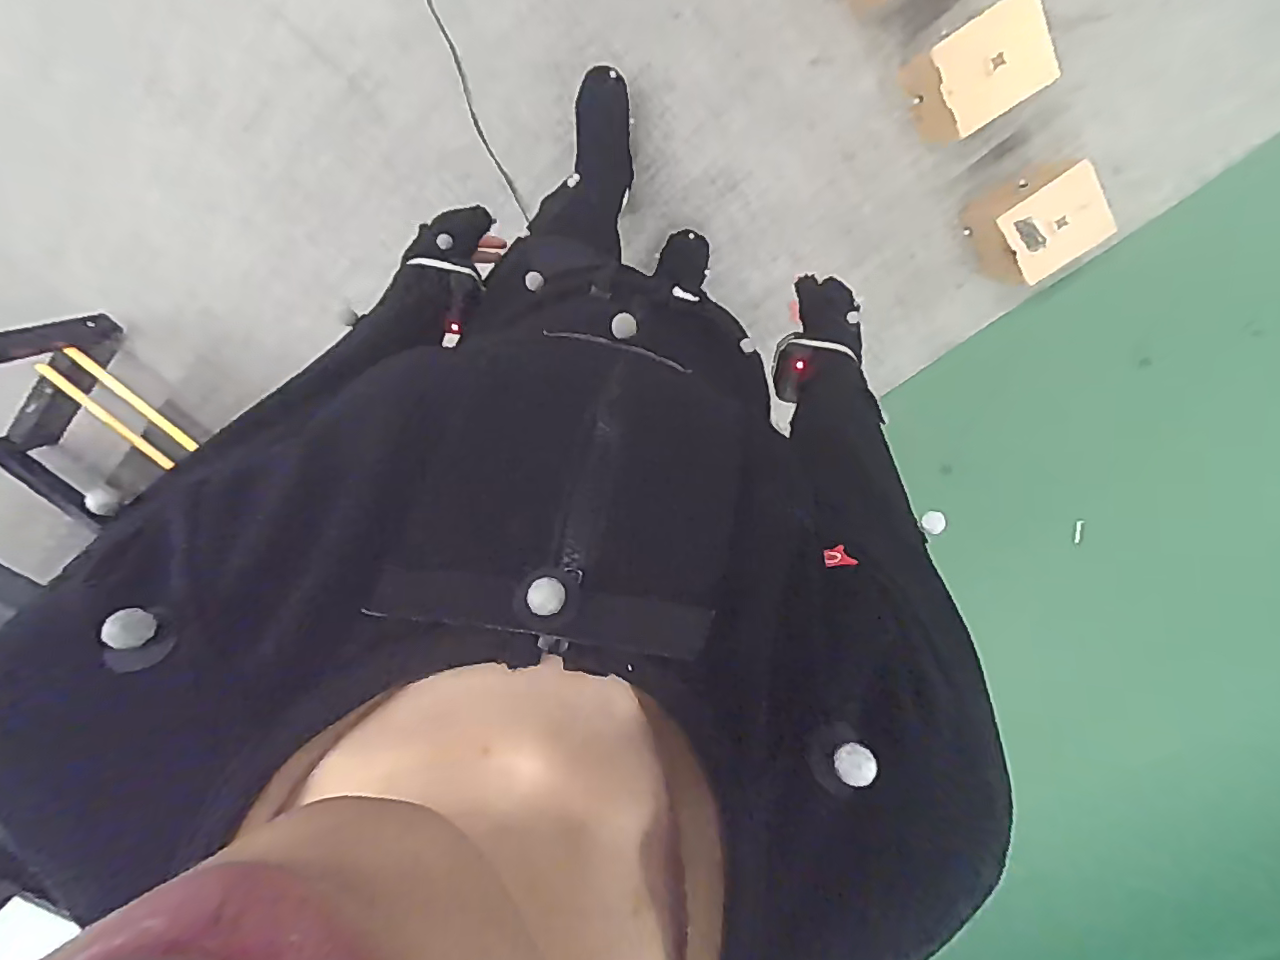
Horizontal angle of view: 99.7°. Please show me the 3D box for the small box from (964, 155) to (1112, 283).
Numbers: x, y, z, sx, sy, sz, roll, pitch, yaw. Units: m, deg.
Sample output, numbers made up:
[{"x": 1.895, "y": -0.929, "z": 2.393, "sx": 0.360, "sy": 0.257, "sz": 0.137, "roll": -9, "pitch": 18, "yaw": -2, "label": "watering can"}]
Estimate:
[{"x": 0.819, "y": -0.544, "z": 1.136, "sx": 0.179, "sy": 0.176, "sz": 0.168, "roll": -34, "pitch": 110, "yaw": 19, "label": "small box"}]

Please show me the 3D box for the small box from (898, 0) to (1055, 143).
[{"x": 0.630, "y": -0.779, "z": 1.030, "sx": 0.179, "sy": 0.176, "sz": 0.168, "roll": -29, "pitch": 111, "yaw": 19, "label": "small box"}]
